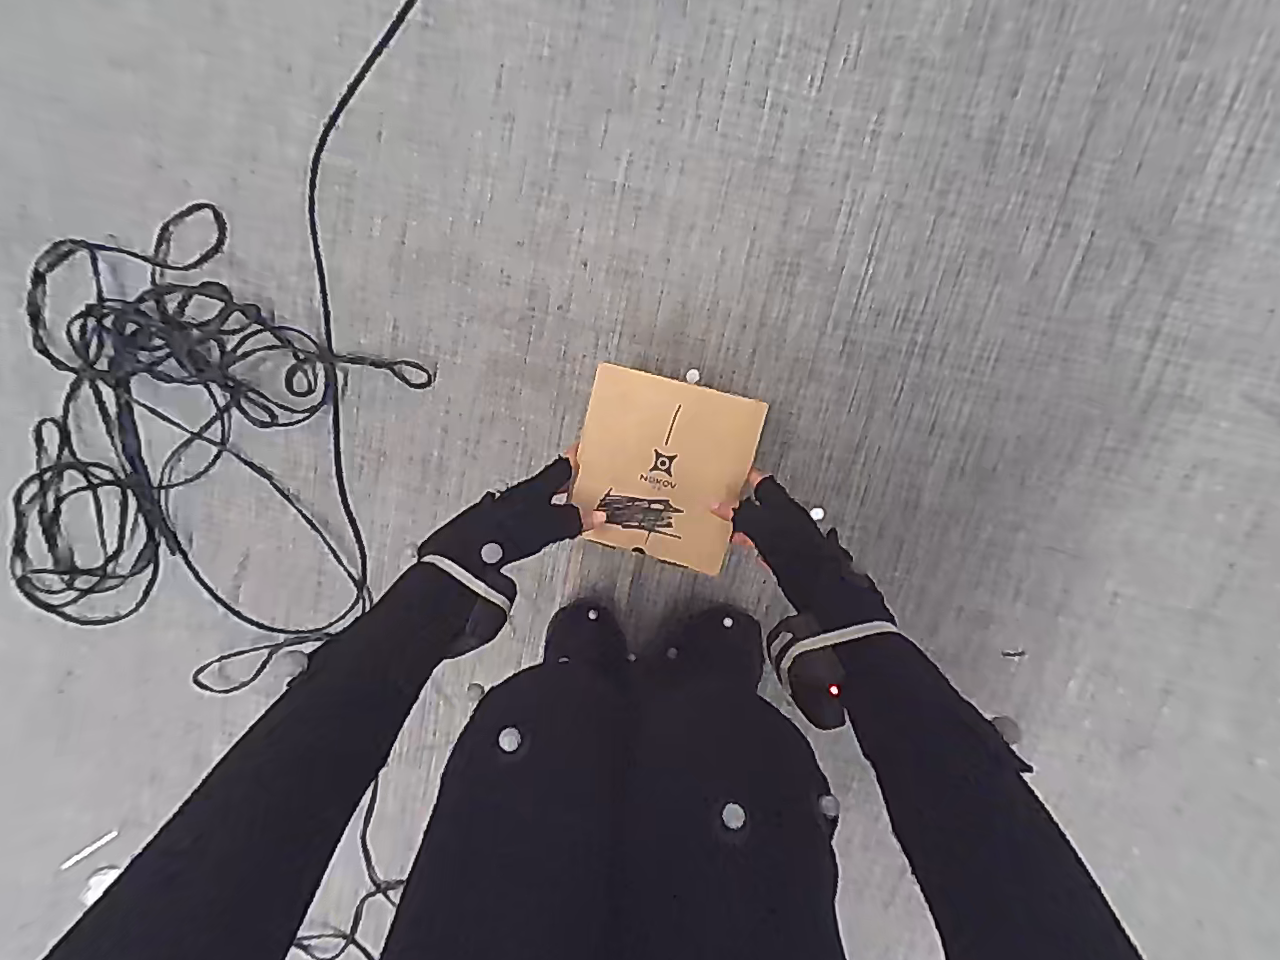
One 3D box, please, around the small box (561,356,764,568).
[{"bbox_3d":[0.027,-0.027,0.601,0.168,0.176,0.179,15,100,3],"label":"small box"}]
